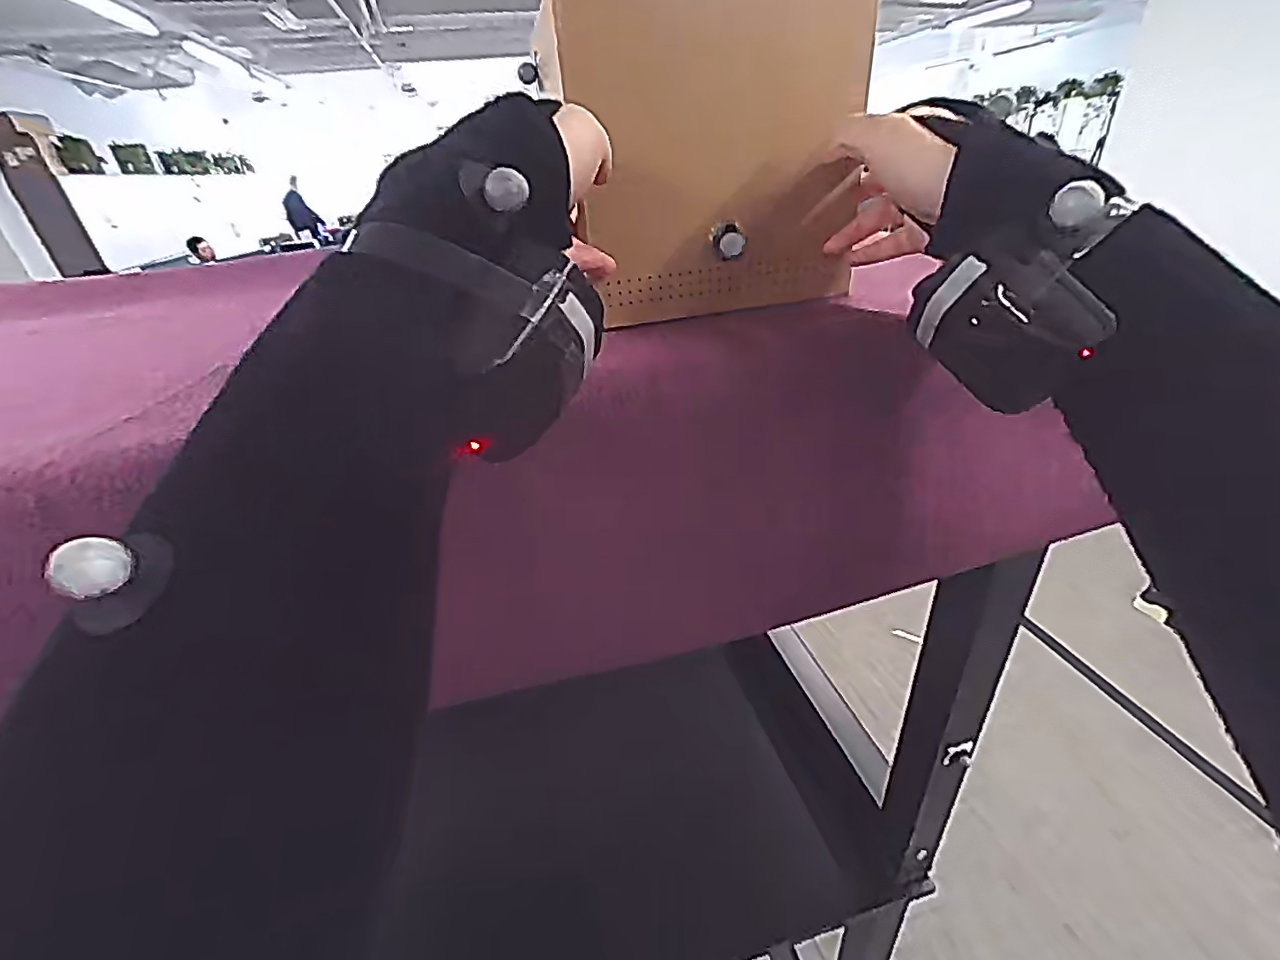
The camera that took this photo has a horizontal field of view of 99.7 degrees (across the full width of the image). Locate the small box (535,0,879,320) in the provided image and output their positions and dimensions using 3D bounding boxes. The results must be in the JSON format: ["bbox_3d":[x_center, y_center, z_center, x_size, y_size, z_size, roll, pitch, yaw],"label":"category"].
[{"bbox_3d":[0.030,-0.219,0.373,0.179,0.176,0.168,-10,29,-9],"label":"small box"}]
